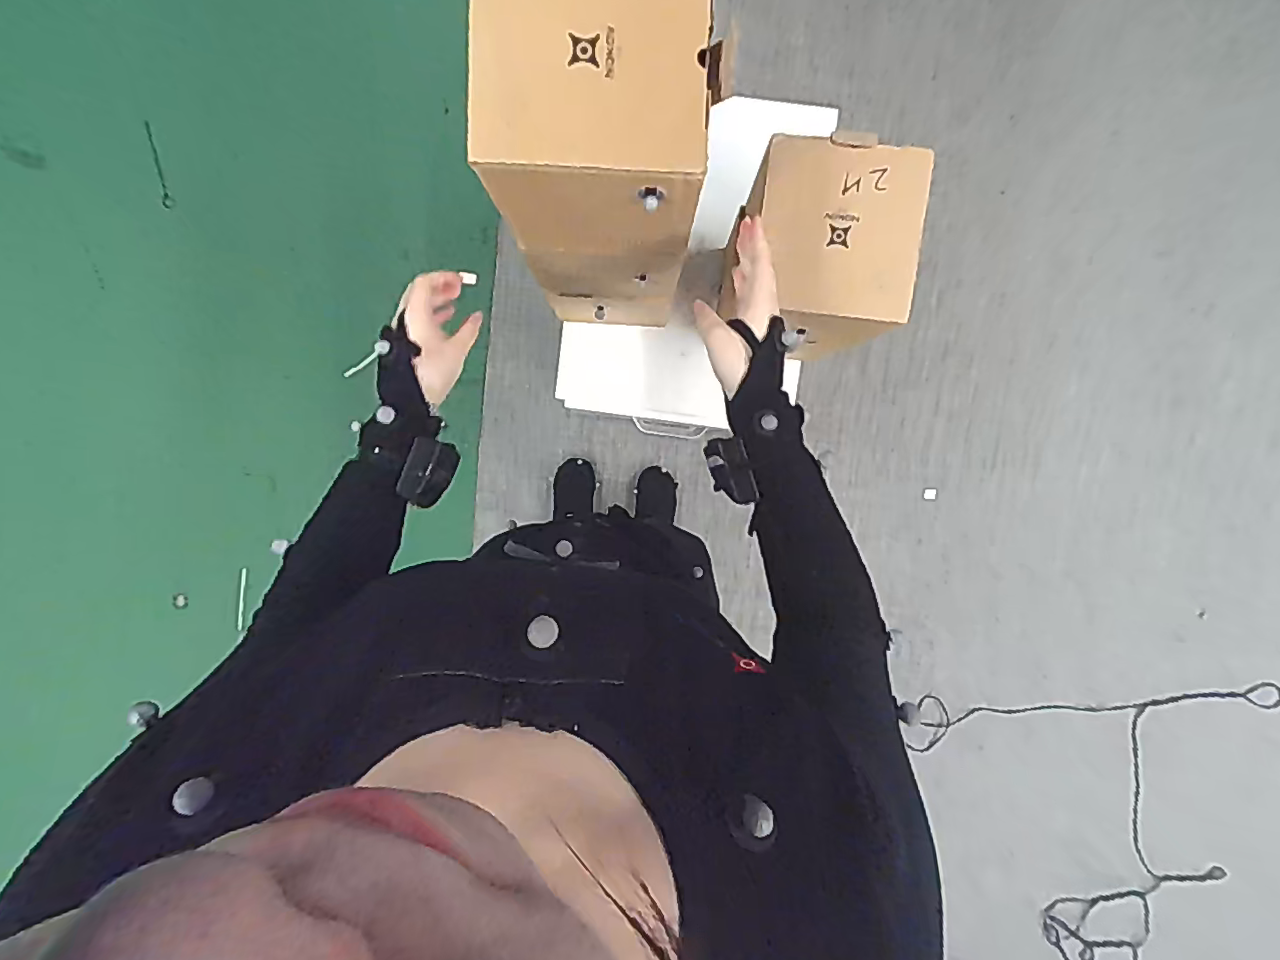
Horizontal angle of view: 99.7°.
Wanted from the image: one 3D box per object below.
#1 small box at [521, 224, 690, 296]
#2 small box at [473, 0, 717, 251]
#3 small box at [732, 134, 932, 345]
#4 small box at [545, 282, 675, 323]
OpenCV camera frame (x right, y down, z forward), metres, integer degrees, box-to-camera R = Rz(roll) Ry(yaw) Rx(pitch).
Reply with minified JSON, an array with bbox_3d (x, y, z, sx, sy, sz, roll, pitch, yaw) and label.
[{"bbox_3d":[-0.035,-0.321,0.633,0.179,0.176,0.168,1,94,-1],"label":"small box"},{"bbox_3d":[-0.034,-0.313,0.470,0.179,0.176,0.168,2,94,-2],"label":"small box"},{"bbox_3d":[0.207,-0.264,0.634,0.168,0.176,0.179,7,95,0],"label":"small box"},{"bbox_3d":[-0.037,-0.333,0.796,0.179,0.176,0.168,3,95,-2],"label":"small box"}]
